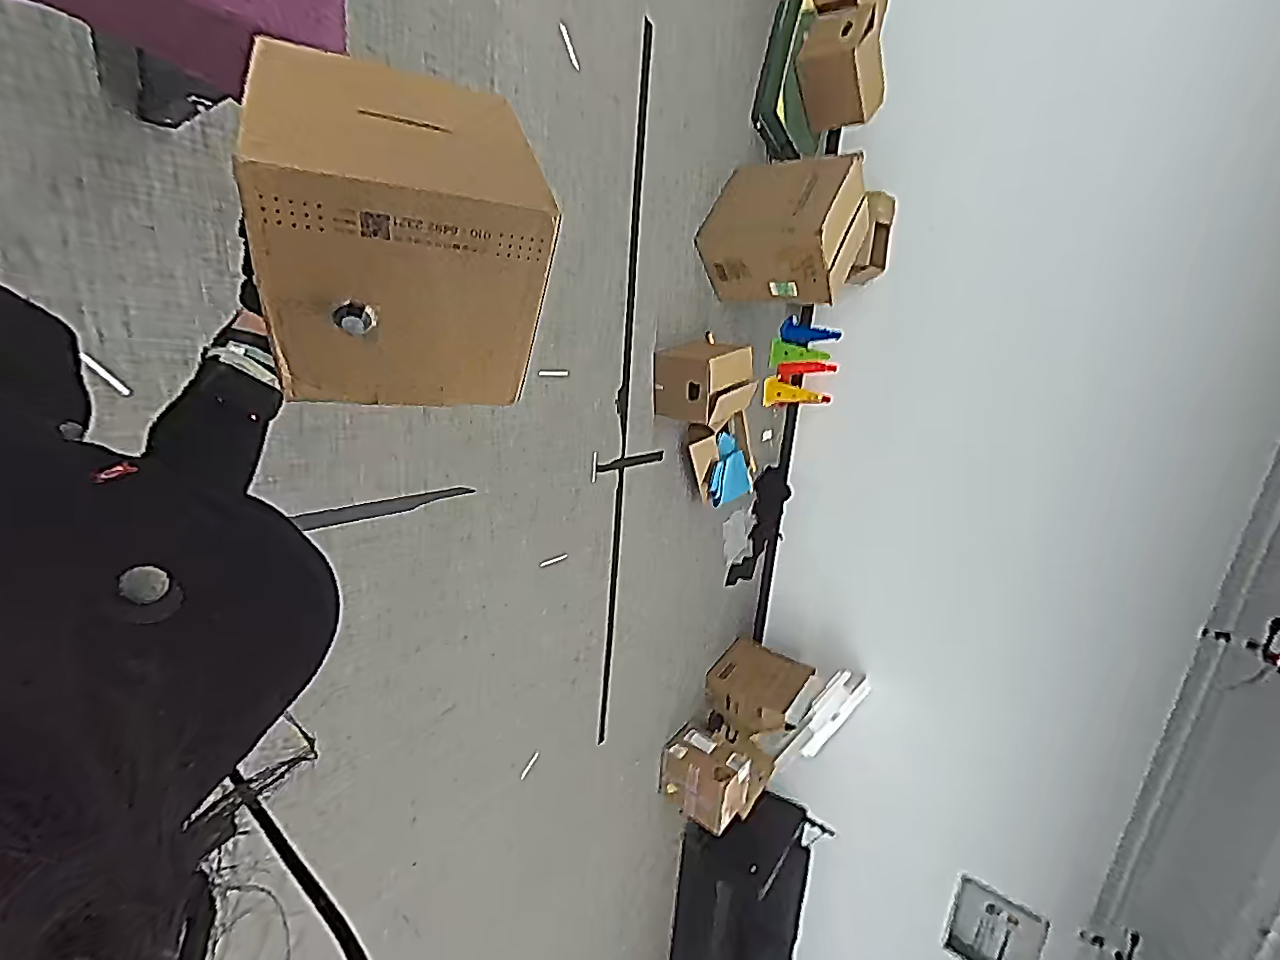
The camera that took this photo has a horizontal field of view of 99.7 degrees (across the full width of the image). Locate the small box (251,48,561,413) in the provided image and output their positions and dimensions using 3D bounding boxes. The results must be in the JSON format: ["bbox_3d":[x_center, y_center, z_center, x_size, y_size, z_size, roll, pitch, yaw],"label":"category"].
[{"bbox_3d":[-0.166,-0.169,0.391,0.168,0.179,0.176,-1,142,-28],"label":"small box"}]
